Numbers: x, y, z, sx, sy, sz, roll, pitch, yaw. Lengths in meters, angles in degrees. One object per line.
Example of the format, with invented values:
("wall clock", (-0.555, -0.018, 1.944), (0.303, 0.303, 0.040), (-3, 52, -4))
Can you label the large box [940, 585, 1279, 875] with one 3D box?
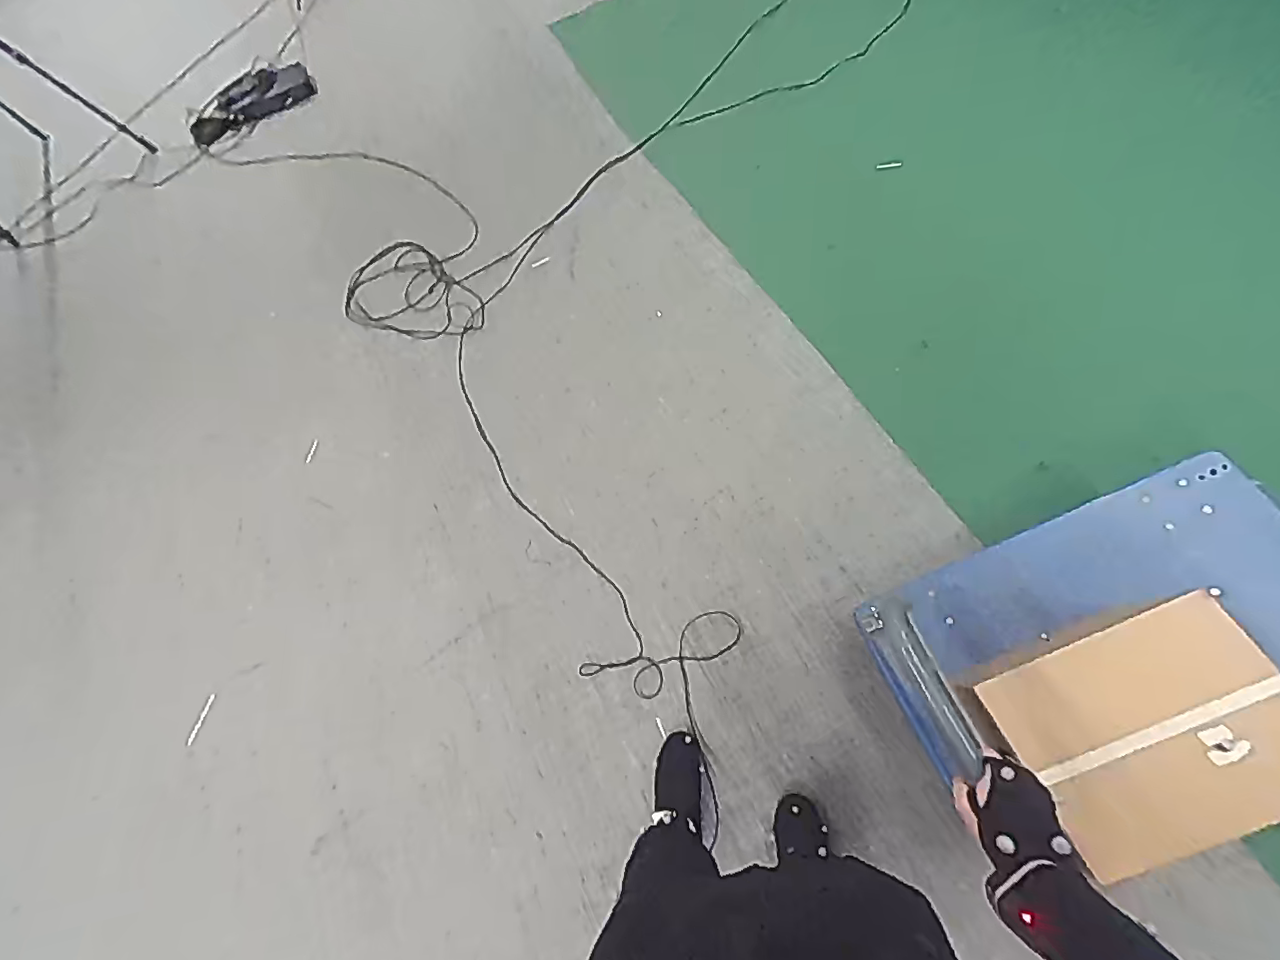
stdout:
("large box", (0.862, 0.443, 1.008), (0.408, 0.320, 0.320), (-28, 66, 7))
